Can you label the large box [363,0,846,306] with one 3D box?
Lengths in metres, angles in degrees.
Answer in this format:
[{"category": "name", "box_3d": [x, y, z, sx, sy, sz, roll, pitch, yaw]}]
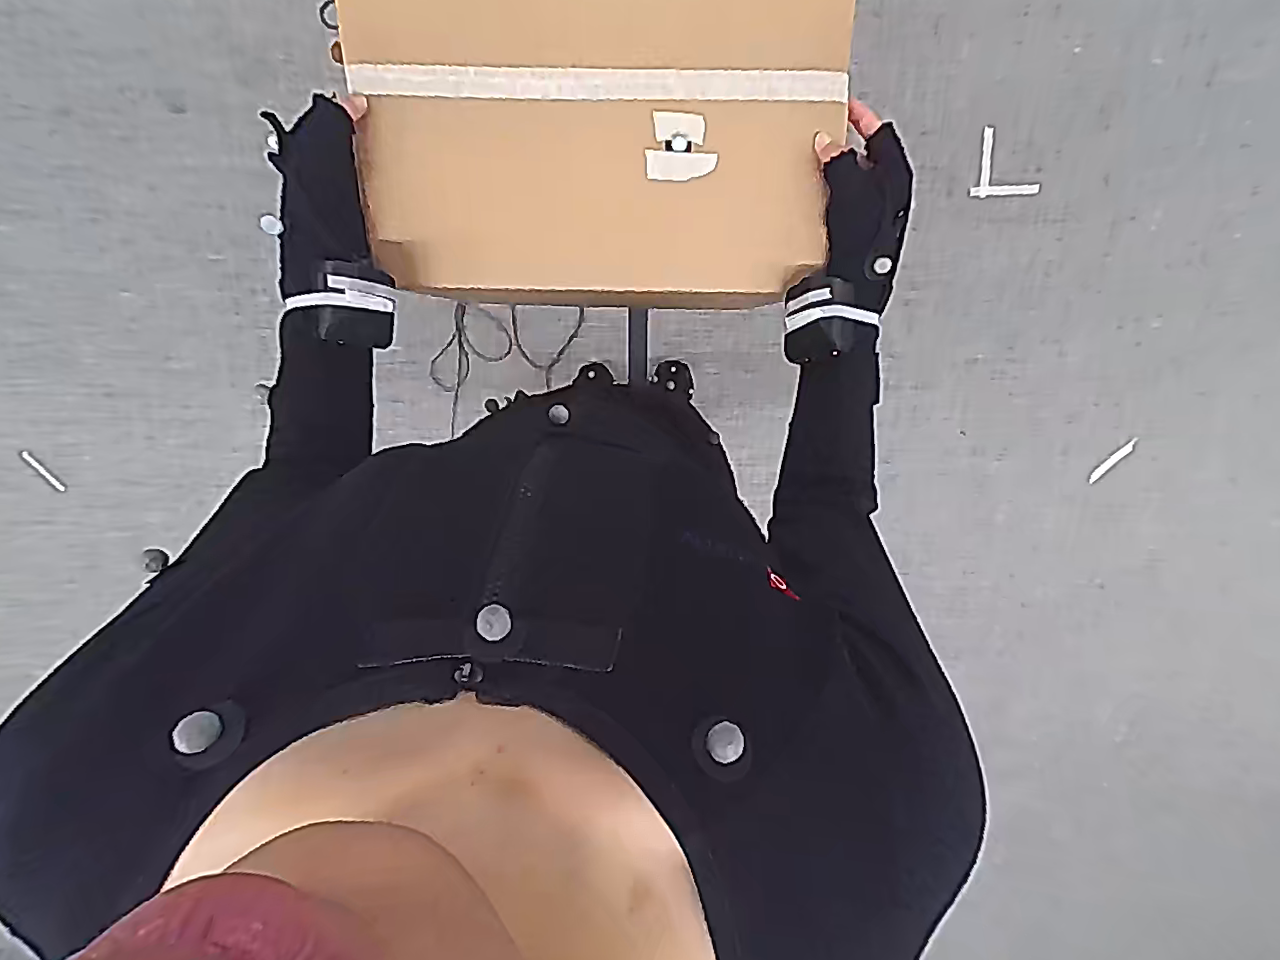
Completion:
[{"category": "large box", "box_3d": [-0.032, -0.367, 0.603, 0.408, 0.320, 0.320, 0, 106, -1]}]
